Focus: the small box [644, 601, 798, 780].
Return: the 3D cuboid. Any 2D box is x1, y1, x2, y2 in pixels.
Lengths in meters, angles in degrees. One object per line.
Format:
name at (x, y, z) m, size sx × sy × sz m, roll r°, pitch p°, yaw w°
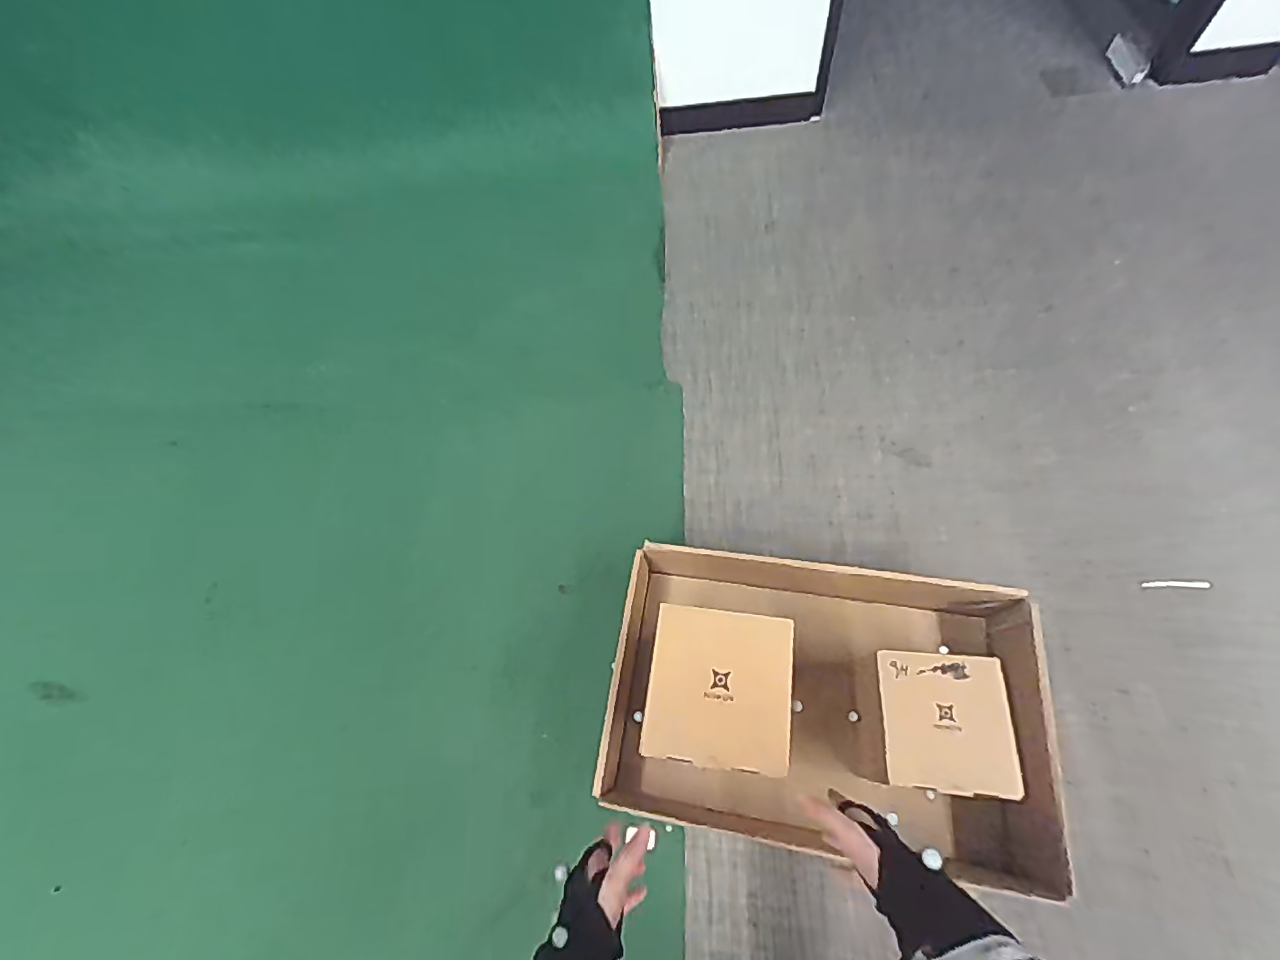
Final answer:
small box at (0.103, 0.271, 0.703) m, size 0.168 × 0.176 × 0.179 m, roll 6°, pitch 67°, yaw 9°
